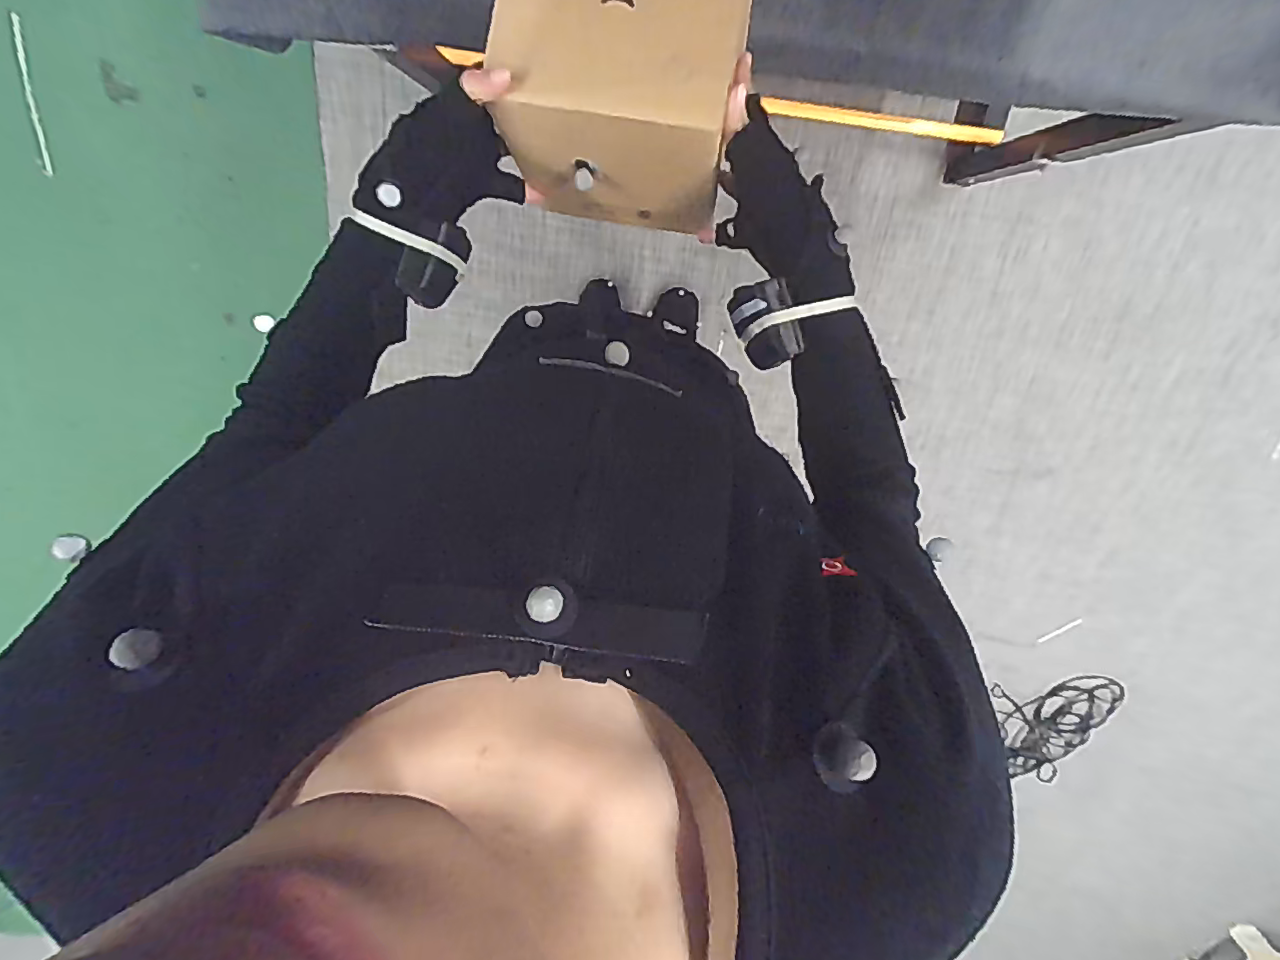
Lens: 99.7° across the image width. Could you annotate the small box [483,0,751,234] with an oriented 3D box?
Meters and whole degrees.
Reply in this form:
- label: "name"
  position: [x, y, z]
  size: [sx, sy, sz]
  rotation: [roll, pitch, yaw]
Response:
- label: "small box"
  position: [-0.005, -0.324, 0.433]
  size: [0.168, 0.176, 0.179]
  rotation: [10, 90, 5]
